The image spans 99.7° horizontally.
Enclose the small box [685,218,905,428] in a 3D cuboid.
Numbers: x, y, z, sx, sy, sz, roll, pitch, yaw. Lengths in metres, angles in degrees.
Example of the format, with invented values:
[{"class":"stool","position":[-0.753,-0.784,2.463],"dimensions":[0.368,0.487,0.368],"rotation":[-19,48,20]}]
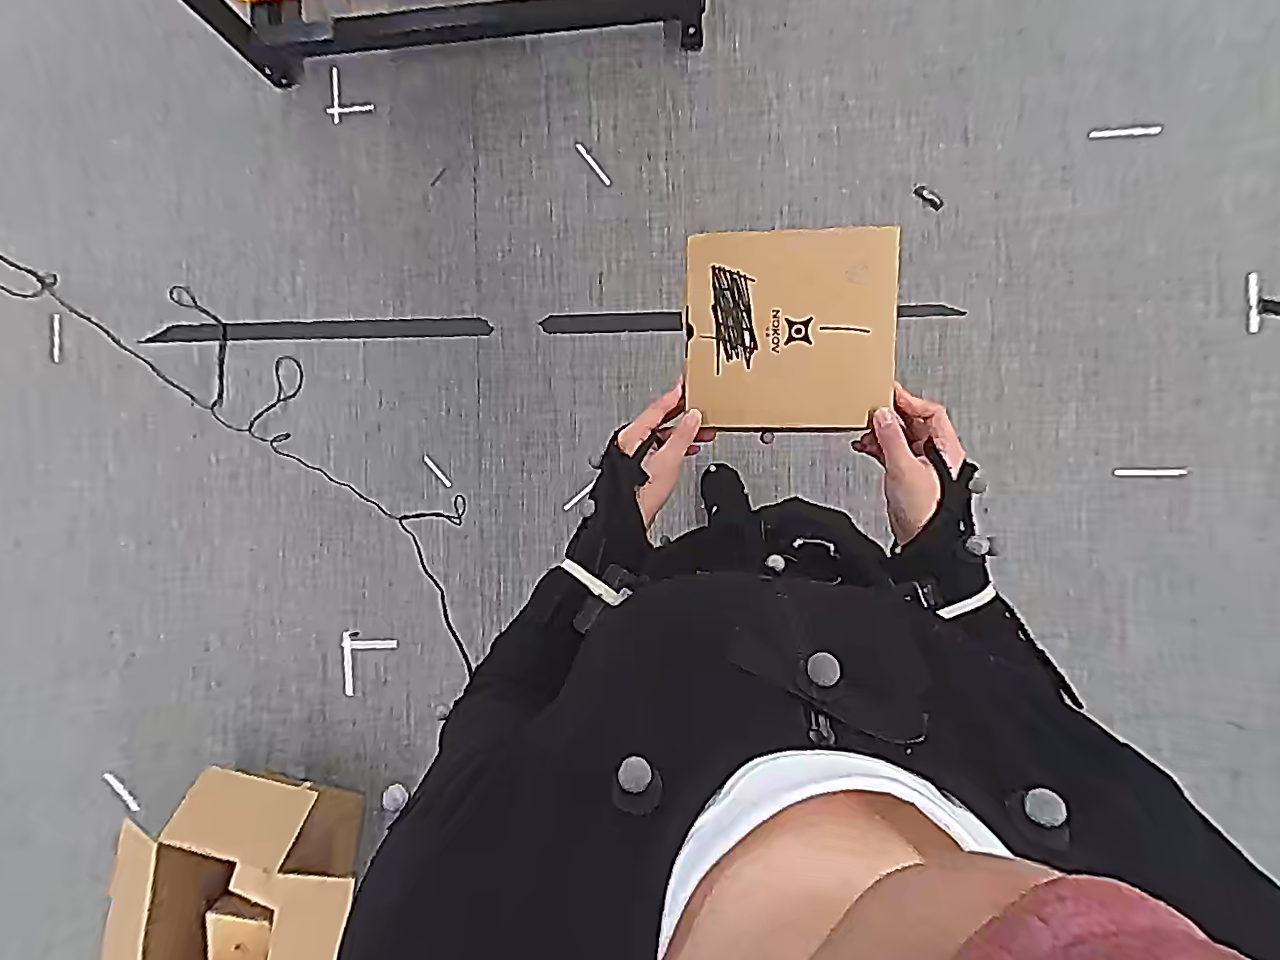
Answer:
[{"class":"small box","position":[0.139,-0.136,0.531],"dimensions":[0.179,0.176,0.168],"rotation":[1,94,8]}]
